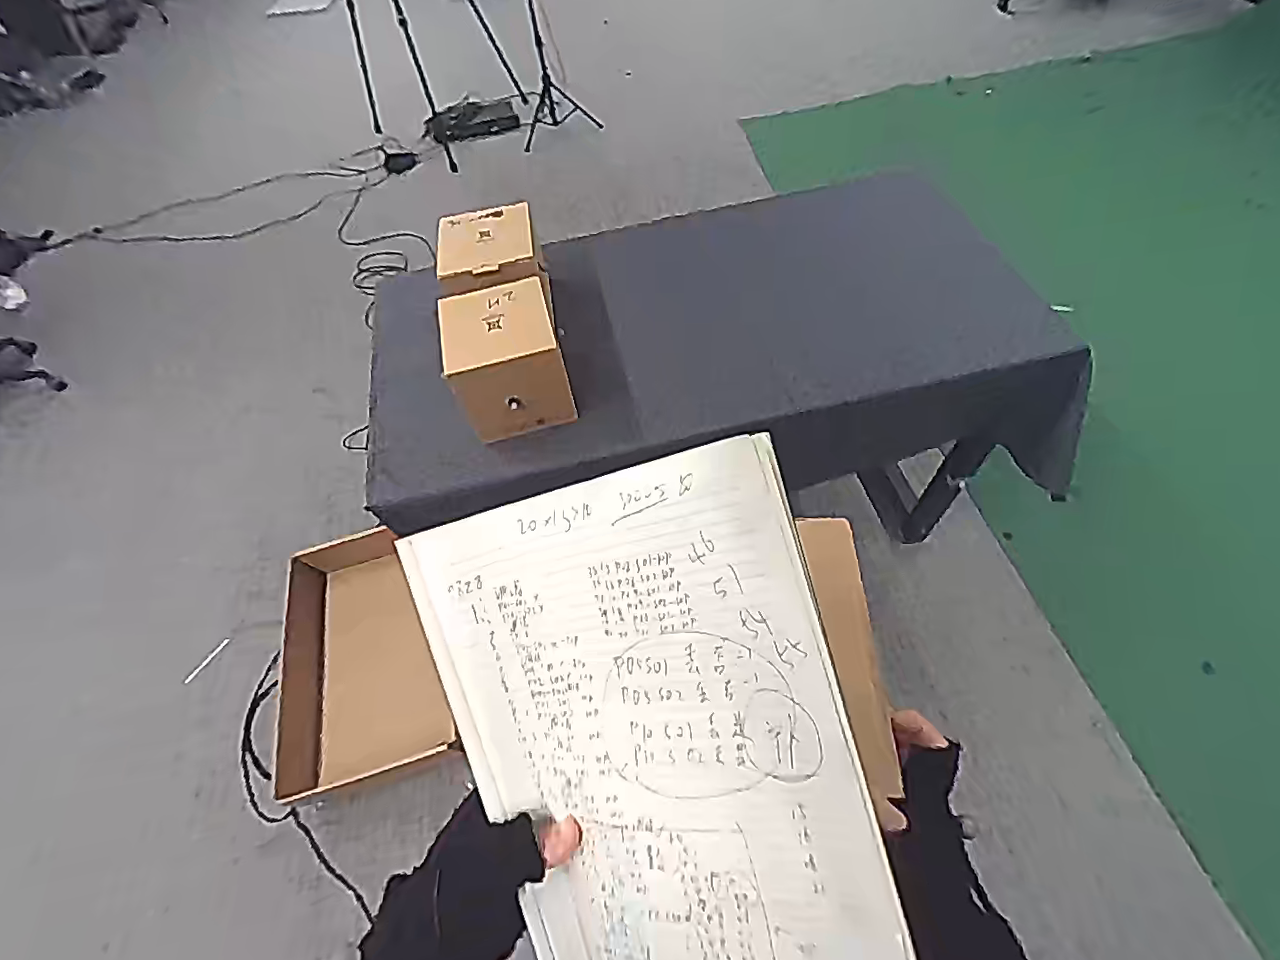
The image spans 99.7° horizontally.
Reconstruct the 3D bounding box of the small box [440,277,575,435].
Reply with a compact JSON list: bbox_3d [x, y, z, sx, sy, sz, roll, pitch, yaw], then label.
[{"bbox_3d":[-0.211,-0.192,0.881,0.168,0.176,0.179,-14,56,-4],"label":"small box"}]

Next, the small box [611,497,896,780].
[{"bbox_3d":[0.071,0.129,0.421,0.168,0.176,0.179,-1,60,4],"label":"small box"}]

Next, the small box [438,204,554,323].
[{"bbox_3d":[-0.262,-0.375,1.008,0.168,0.176,0.179,-11,58,-1],"label":"small box"}]
